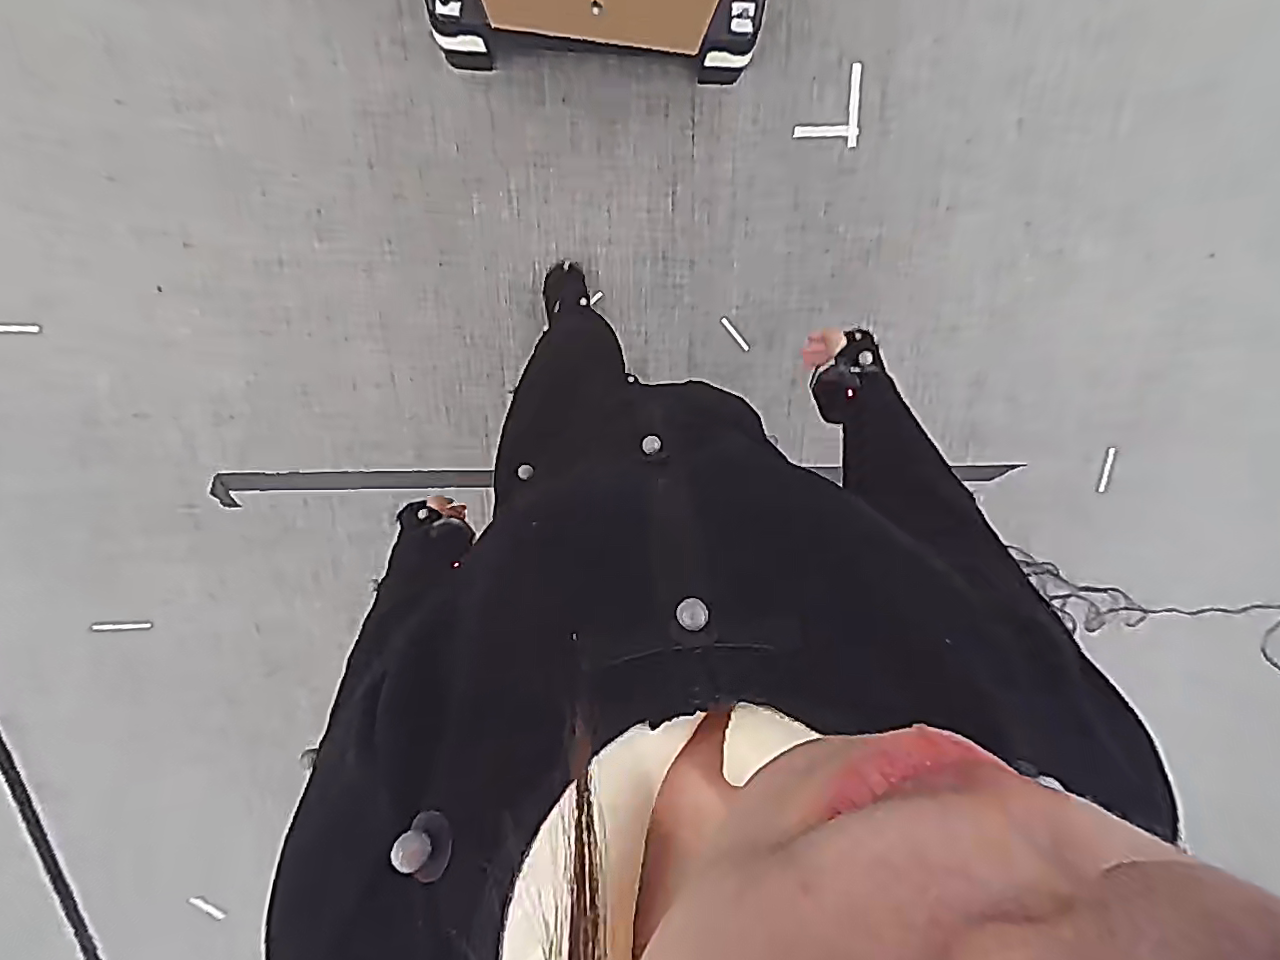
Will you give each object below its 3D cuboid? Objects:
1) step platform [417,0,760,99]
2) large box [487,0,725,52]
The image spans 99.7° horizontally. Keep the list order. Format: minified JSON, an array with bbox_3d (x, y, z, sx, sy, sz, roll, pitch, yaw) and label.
[{"bbox_3d":[-0.098,-1.006,1.084,0.684,0.204,0.286,5,106,-5],"label":"step platform"},{"bbox_3d":[-0.053,-0.940,0.858,0.408,0.320,0.320,3,106,-4],"label":"large box"}]
